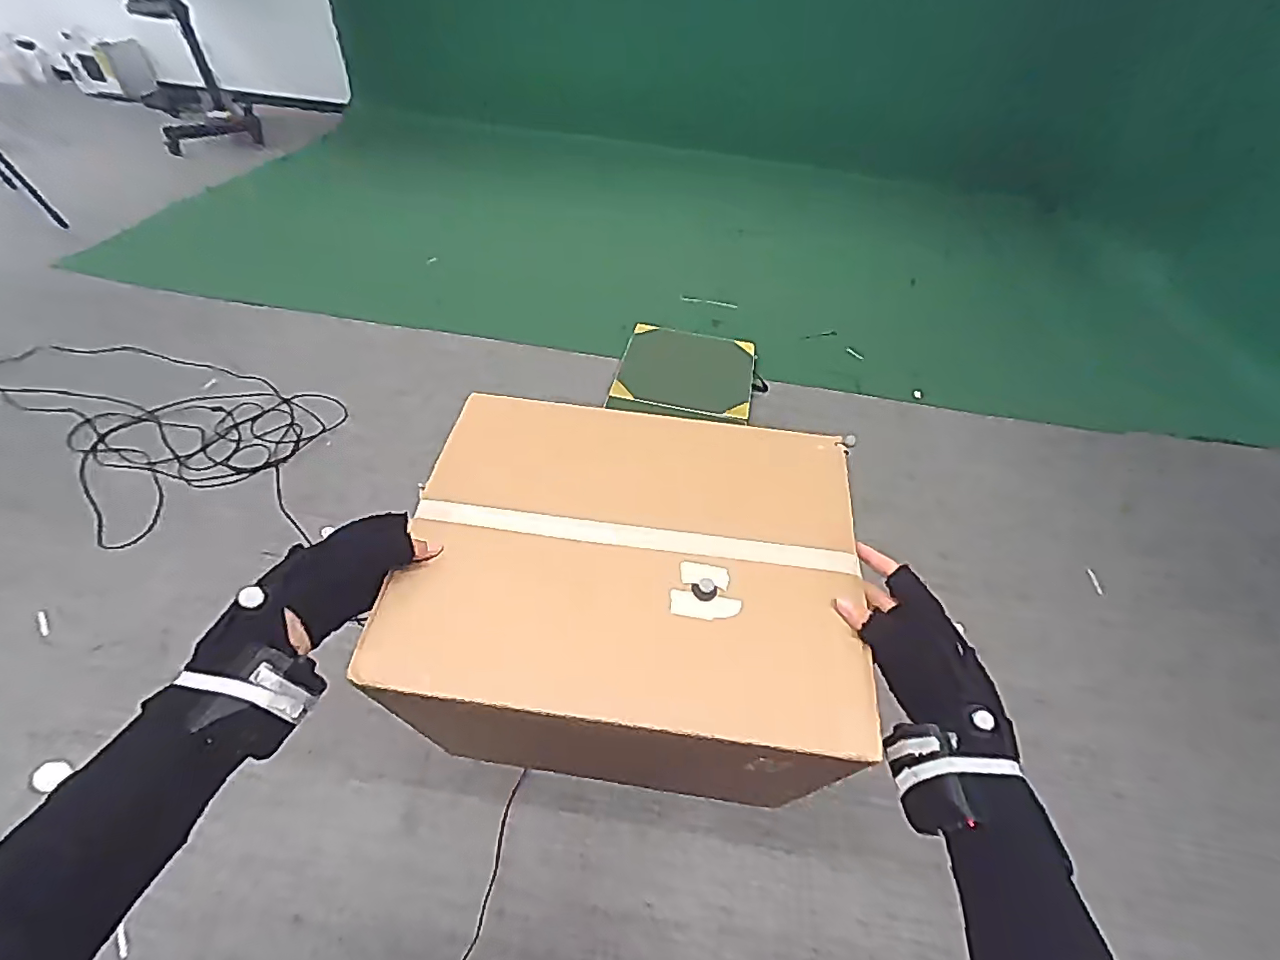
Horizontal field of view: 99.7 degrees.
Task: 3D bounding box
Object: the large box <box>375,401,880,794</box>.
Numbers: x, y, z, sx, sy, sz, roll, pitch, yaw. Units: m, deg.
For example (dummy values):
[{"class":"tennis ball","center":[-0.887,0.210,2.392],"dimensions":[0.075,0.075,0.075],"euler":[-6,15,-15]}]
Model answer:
[{"class":"large box","center":[-0.005,0.143,0.622],"dimensions":[0.408,0.320,0.320],"euler":[8,54,2]}]
